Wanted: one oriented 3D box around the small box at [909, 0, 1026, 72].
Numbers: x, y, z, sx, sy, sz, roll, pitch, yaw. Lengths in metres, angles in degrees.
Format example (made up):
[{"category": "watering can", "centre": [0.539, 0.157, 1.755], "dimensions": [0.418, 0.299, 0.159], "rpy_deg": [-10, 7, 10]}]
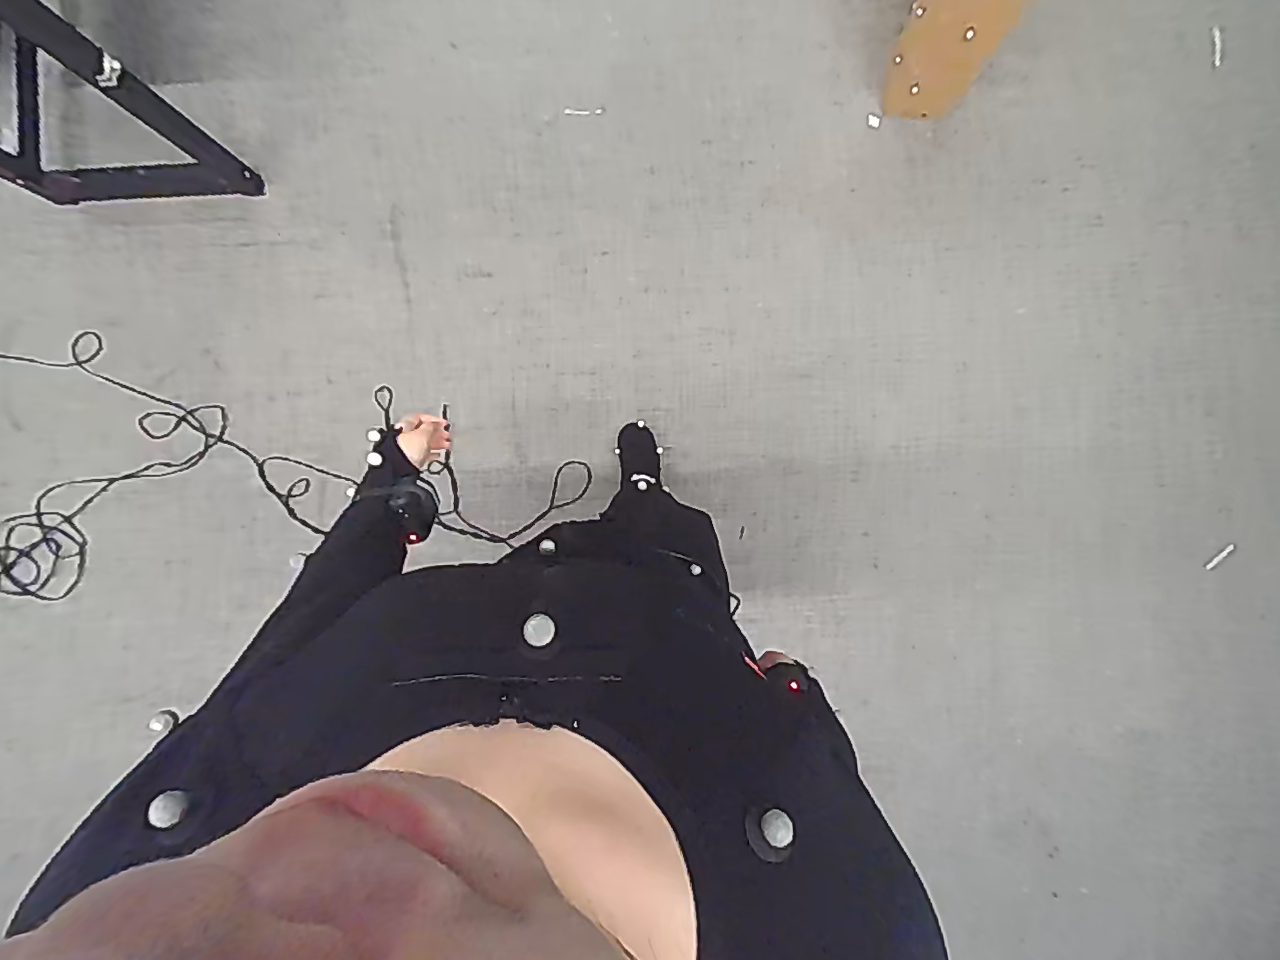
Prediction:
[{"category": "small box", "centre": [0.756, -1.088, 1.249], "dimensions": [0.179, 0.176, 0.168], "rpy_deg": [6, 91, 1]}]
